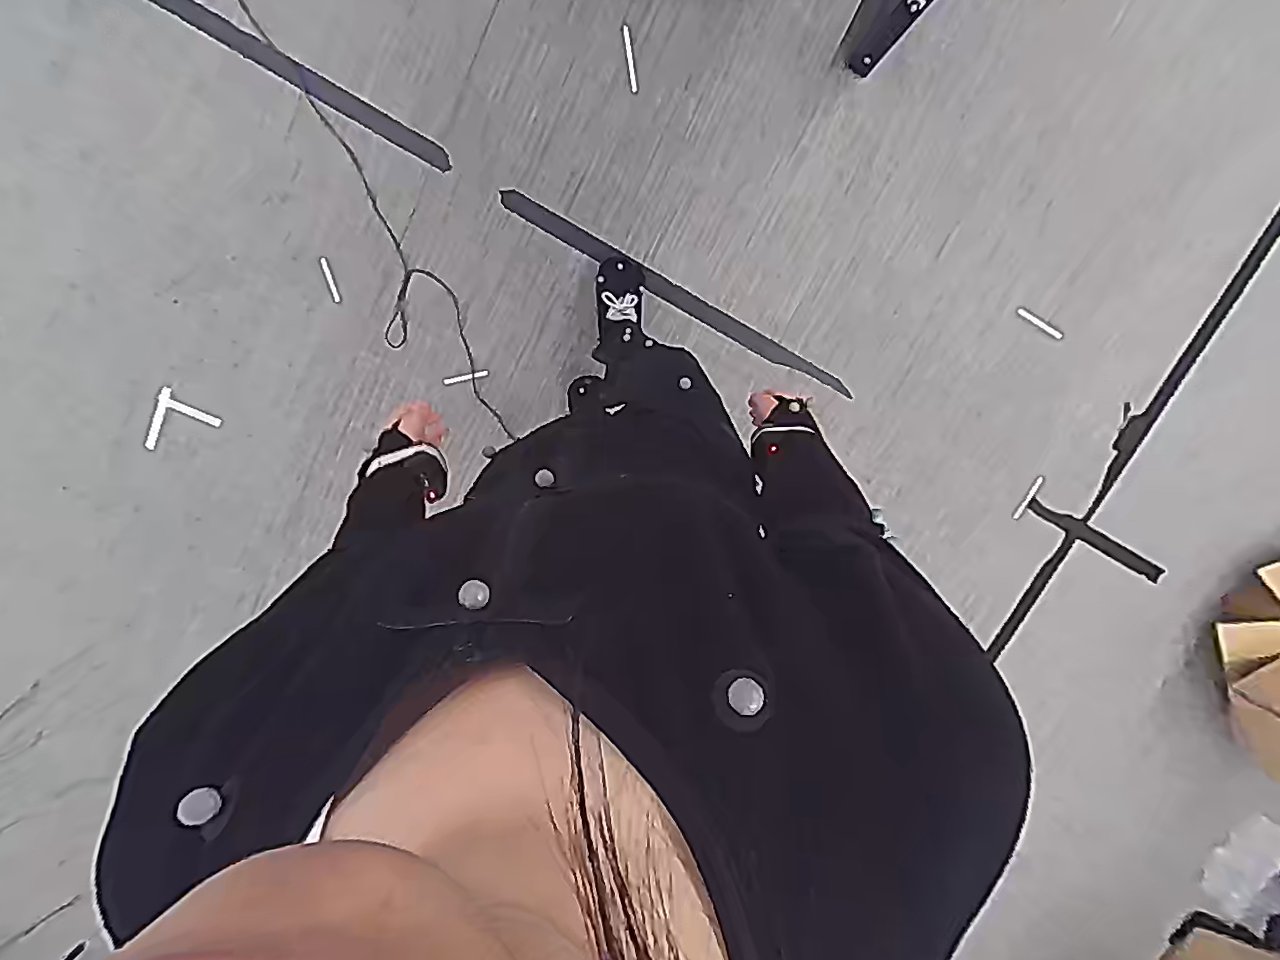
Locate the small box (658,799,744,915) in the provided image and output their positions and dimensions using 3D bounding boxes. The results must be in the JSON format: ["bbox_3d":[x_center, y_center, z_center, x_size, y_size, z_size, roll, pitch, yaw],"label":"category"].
[{"bbox_3d":[0.160,1.041,1.502,0.168,0.176,0.179,30,98,-10],"label":"small box"}]
